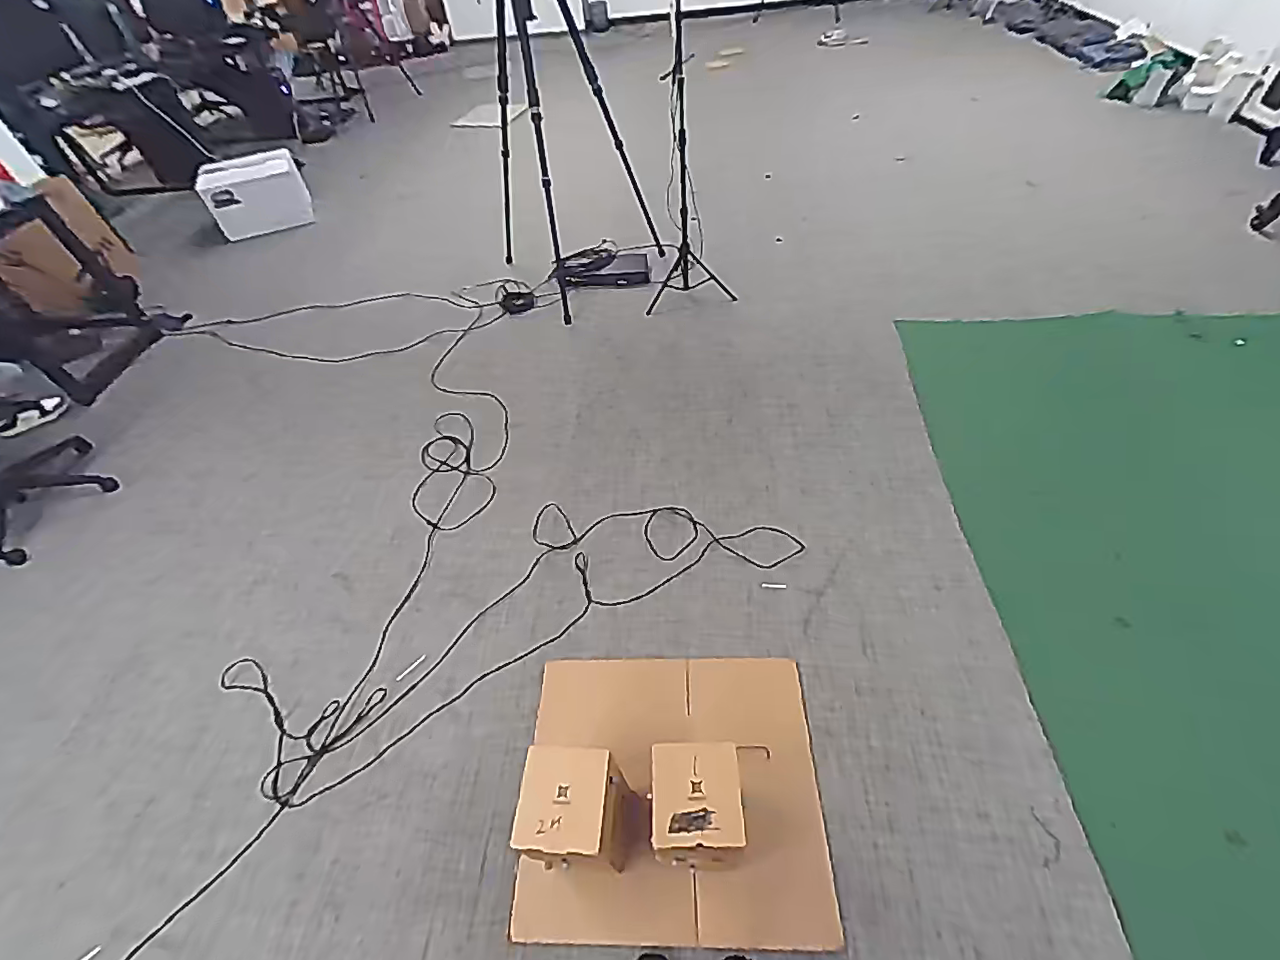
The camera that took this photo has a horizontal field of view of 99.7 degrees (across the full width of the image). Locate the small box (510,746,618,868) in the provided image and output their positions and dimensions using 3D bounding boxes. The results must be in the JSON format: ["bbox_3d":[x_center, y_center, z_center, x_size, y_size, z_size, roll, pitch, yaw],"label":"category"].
[{"bbox_3d":[-0.140,0.649,1.072,0.168,0.176,0.179,-1,49,7],"label":"small box"}]

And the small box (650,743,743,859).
[{"bbox_3d":[0.108,0.633,1.061,0.168,0.176,0.179,-3,49,3],"label":"small box"}]

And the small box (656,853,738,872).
[{"bbox_3d":[0.119,0.742,1.184,0.168,0.176,0.179,-3,50,4],"label":"small box"}]
